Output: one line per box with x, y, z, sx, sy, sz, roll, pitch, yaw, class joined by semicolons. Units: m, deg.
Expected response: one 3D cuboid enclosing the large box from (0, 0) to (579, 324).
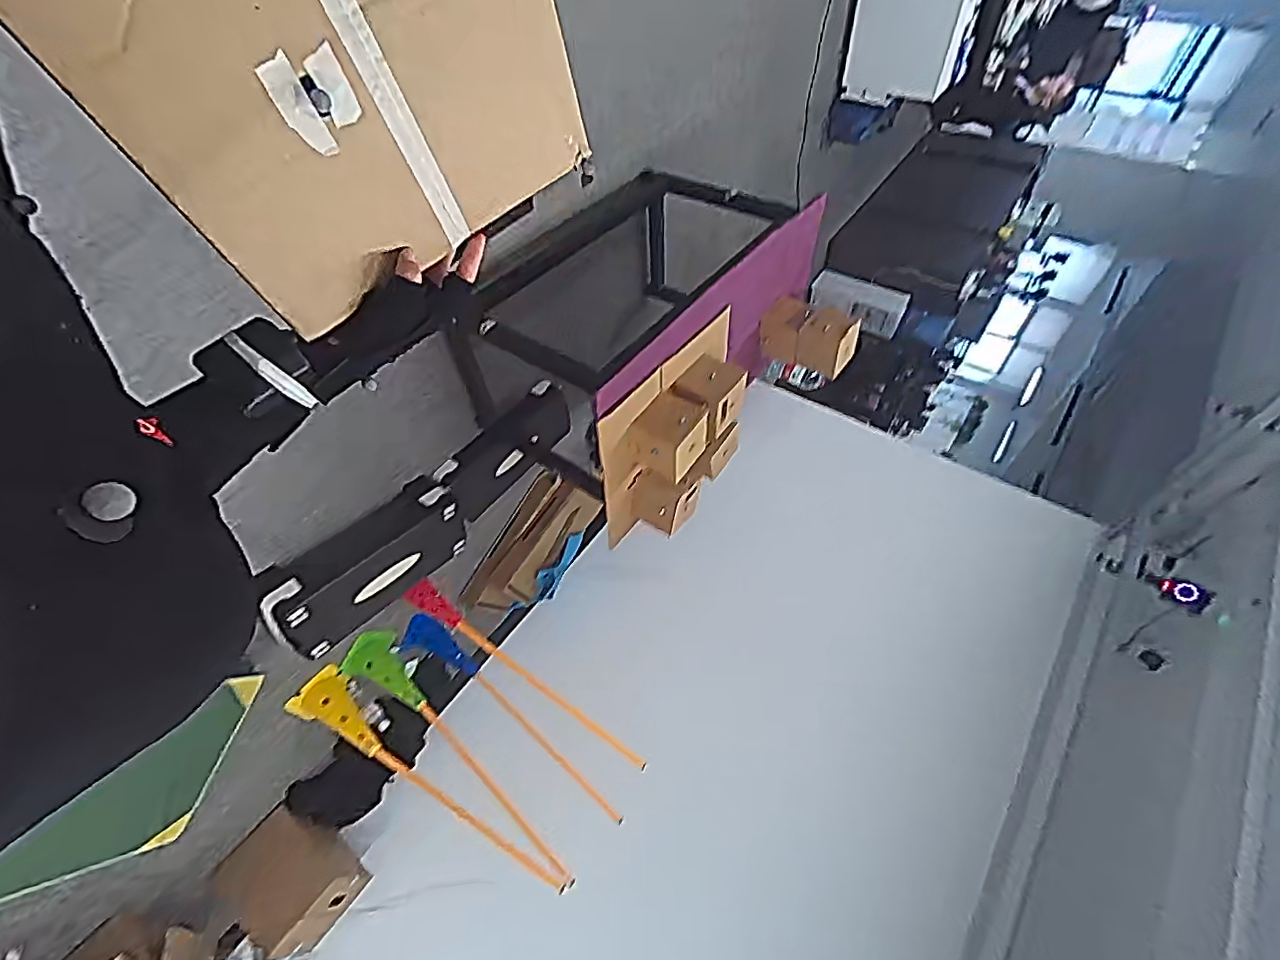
-0.302;-0.410;0.395;0.320;0.320;0.408;-41;151;-14;large box
